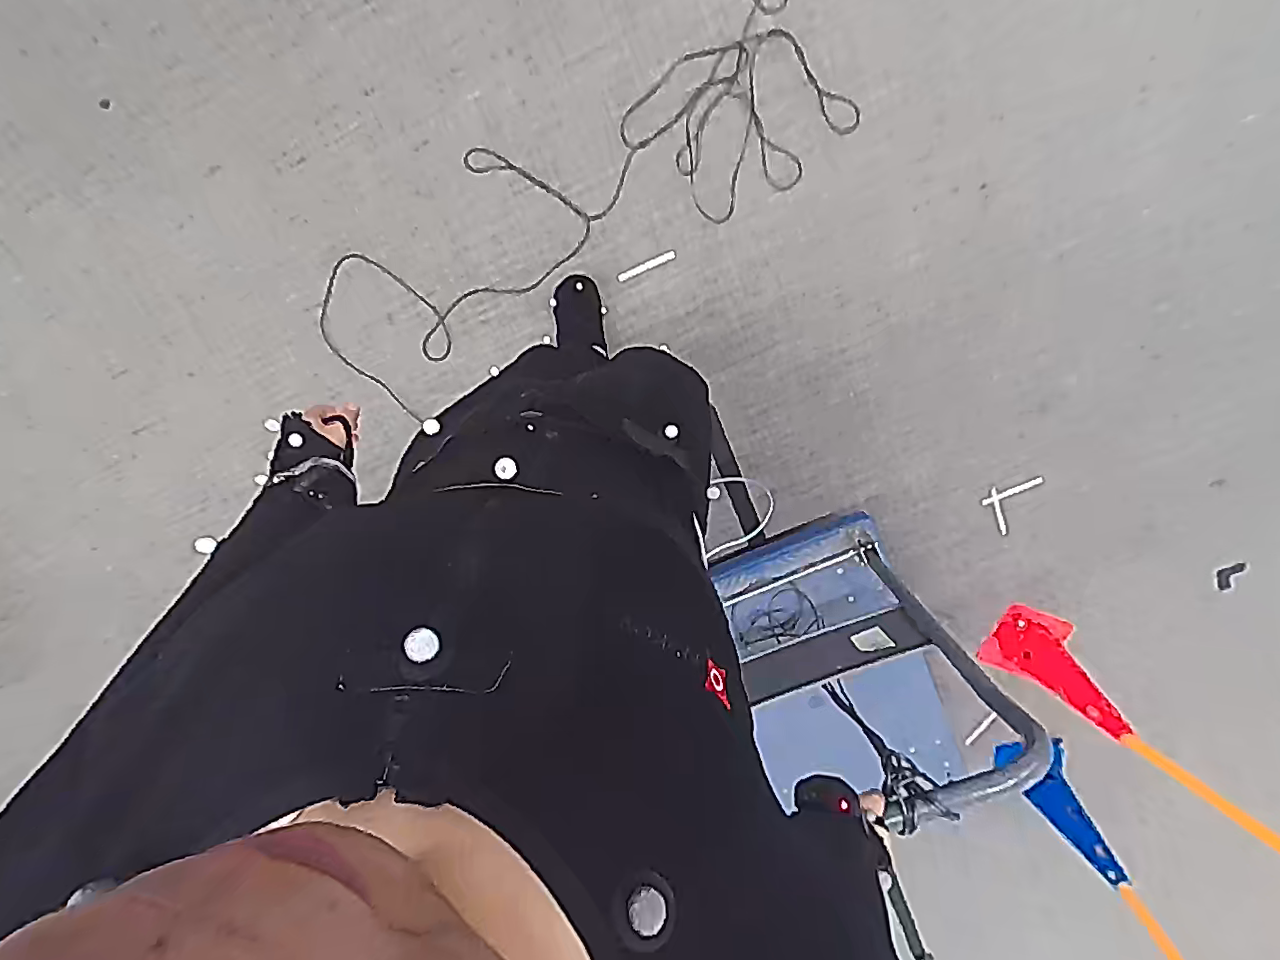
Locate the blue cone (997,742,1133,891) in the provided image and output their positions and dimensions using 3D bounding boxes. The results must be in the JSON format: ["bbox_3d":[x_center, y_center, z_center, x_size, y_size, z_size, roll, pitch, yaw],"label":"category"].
[{"bbox_3d":[1.167,0.922,1.470,0.193,0.380,0.192,-8,107,4],"label":"blue cone"}]

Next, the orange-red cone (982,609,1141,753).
[{"bbox_3d":[1.064,0.516,1.325,0.198,0.360,0.199,21,109,-5],"label":"orange-red cone"}]
